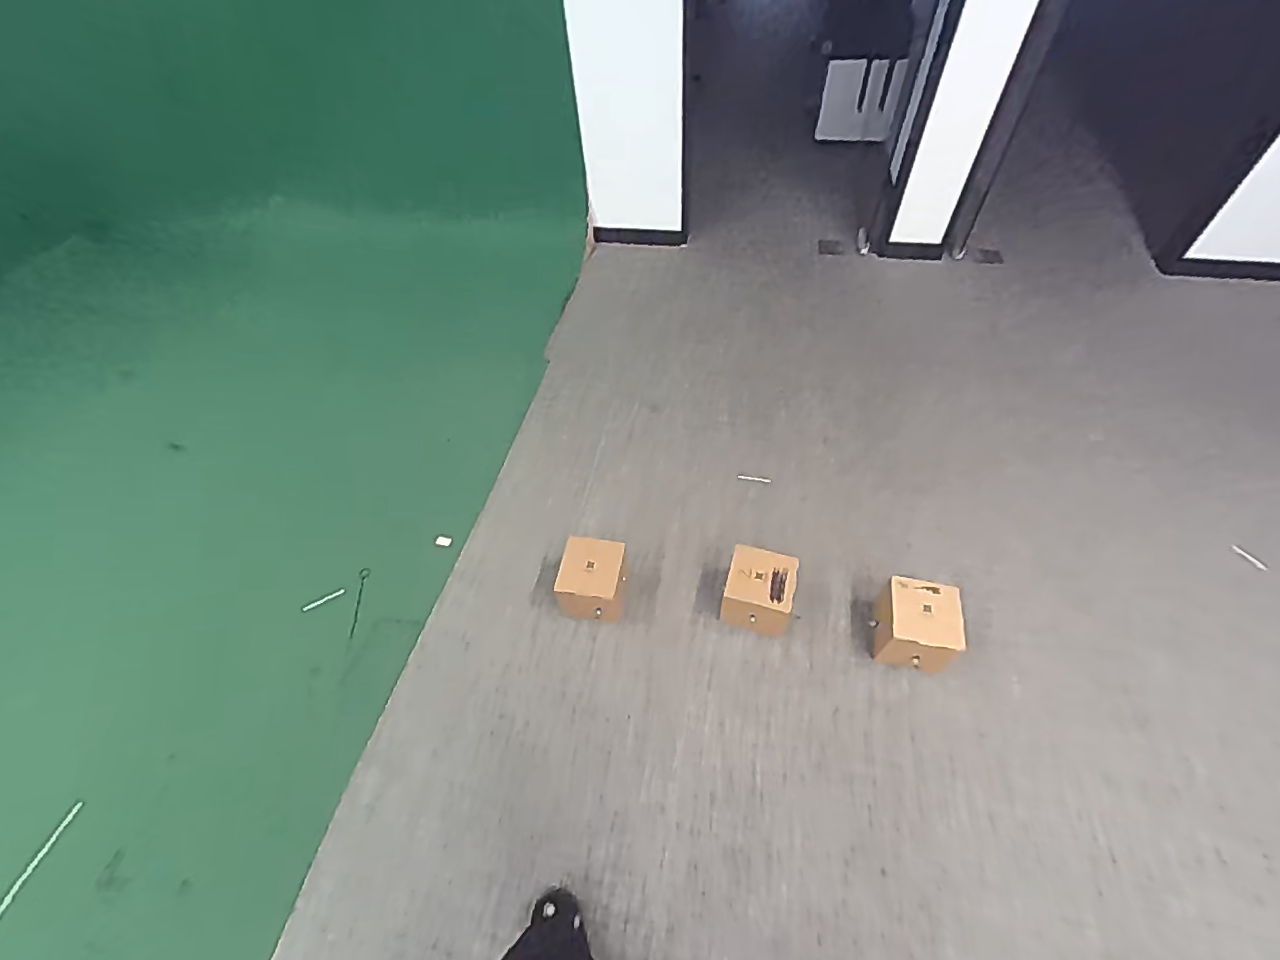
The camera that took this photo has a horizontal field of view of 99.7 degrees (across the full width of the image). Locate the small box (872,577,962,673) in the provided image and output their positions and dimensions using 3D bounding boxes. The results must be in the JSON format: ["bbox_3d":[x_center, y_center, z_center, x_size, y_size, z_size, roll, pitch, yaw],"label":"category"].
[{"bbox_3d":[0.712,0.382,1.406,0.168,0.176,0.179,10,54,11],"label":"small box"}]

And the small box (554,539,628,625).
[{"bbox_3d":[-0.130,0.295,1.537,0.168,0.176,0.179,7,52,8],"label":"small box"}]
